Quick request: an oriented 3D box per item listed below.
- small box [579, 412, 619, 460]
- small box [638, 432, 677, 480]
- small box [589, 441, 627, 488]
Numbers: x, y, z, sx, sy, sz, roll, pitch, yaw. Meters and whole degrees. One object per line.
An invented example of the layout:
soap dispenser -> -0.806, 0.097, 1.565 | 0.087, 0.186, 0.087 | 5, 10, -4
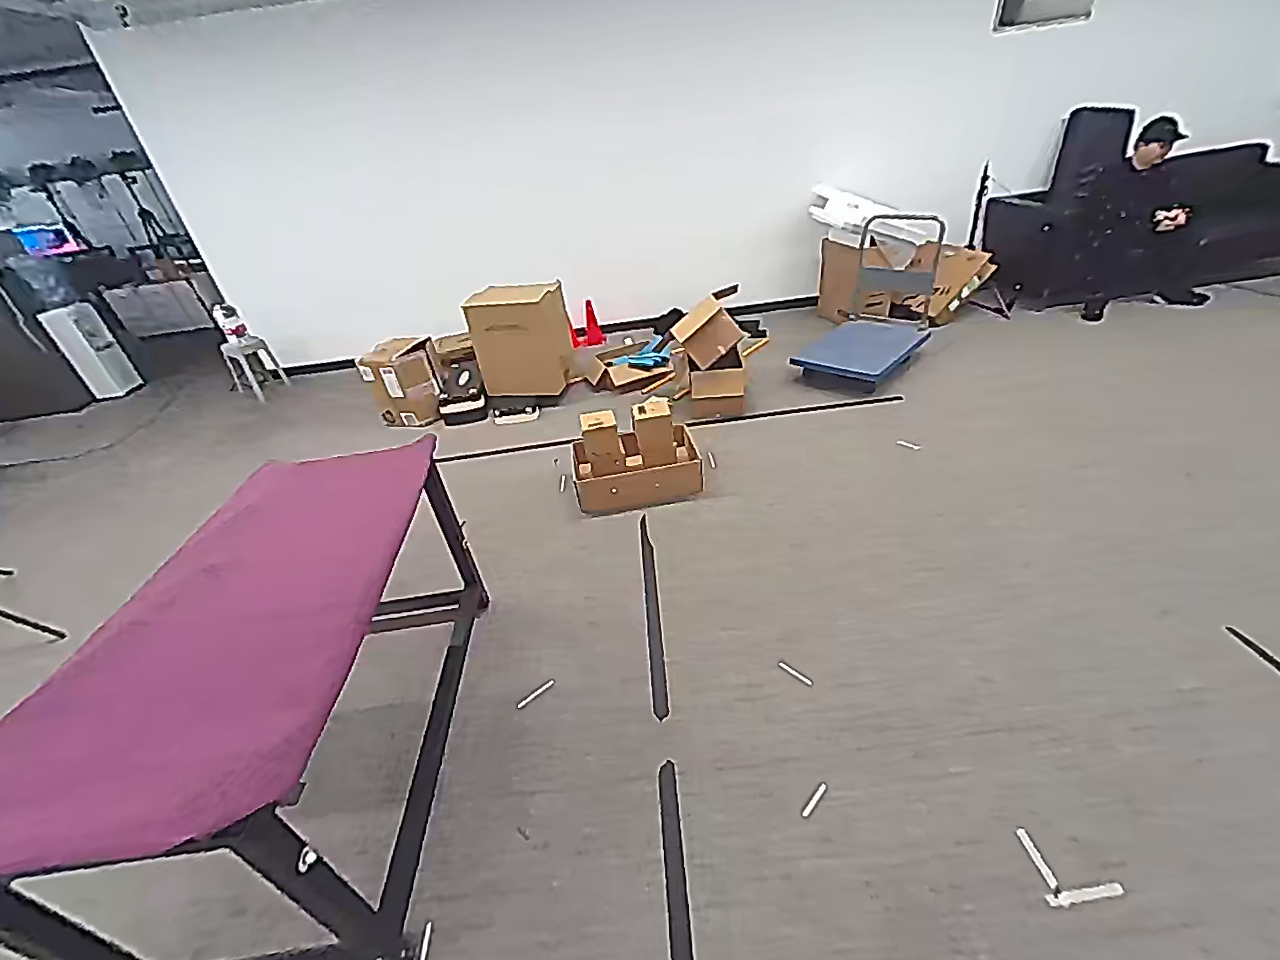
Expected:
small box -> -0.199, -0.208, 2.638 | 0.168, 0.176, 0.179 | -10, 32, -6
small box -> 0.089, -0.121, 2.751 | 0.168, 0.176, 0.179 | -11, 33, -3
small box -> -0.166, -0.077, 2.734 | 0.179, 0.176, 0.168 | -10, 32, -6
